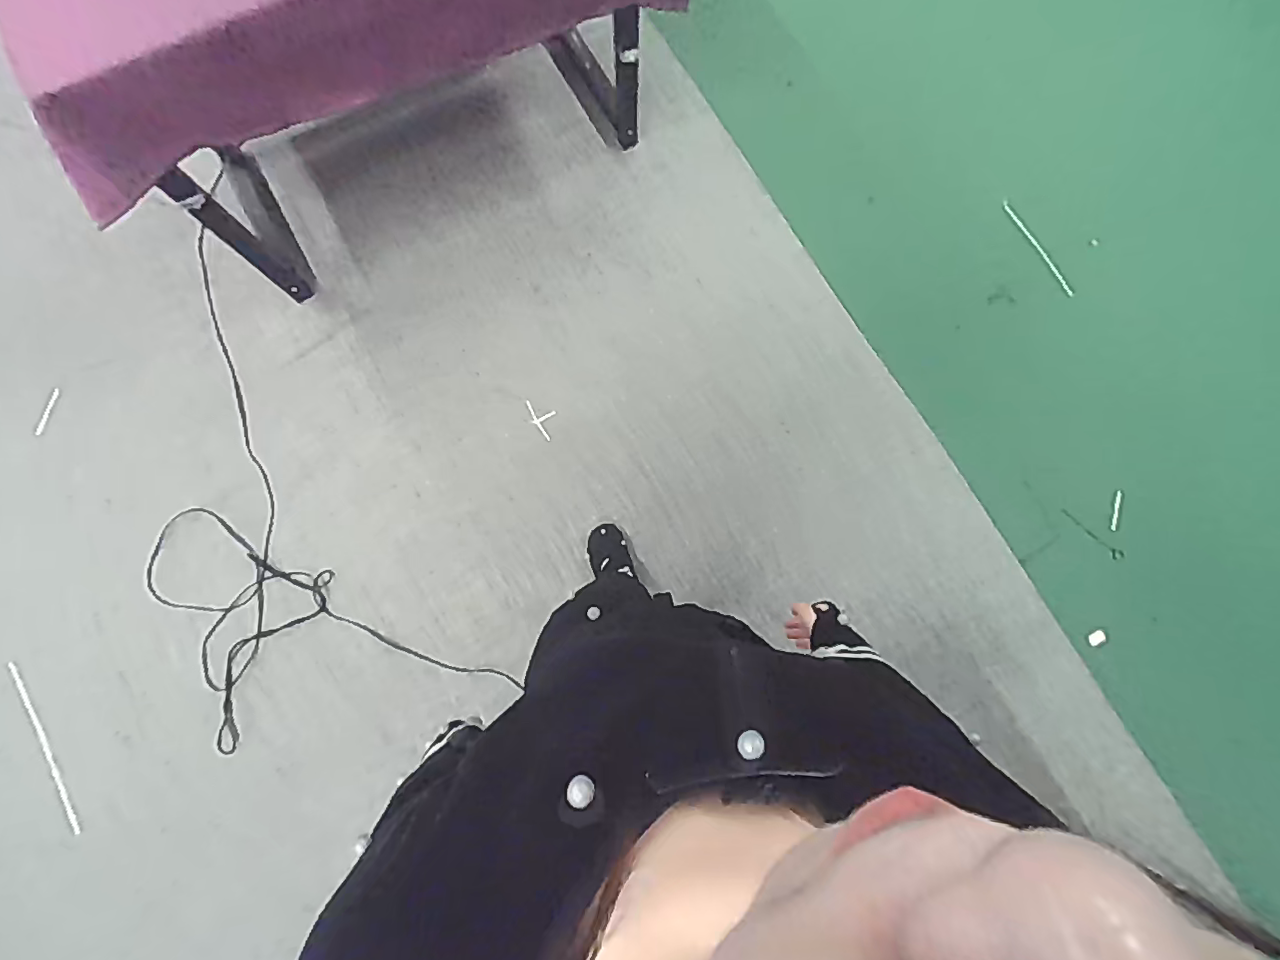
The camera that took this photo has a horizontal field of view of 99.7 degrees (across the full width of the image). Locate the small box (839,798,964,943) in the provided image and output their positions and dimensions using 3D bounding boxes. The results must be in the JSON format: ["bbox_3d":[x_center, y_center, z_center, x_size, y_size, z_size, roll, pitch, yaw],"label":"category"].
[{"bbox_3d":[0.458,0.654,0.878,0.168,0.176,0.179,-28,82,-6],"label":"small box"}]
